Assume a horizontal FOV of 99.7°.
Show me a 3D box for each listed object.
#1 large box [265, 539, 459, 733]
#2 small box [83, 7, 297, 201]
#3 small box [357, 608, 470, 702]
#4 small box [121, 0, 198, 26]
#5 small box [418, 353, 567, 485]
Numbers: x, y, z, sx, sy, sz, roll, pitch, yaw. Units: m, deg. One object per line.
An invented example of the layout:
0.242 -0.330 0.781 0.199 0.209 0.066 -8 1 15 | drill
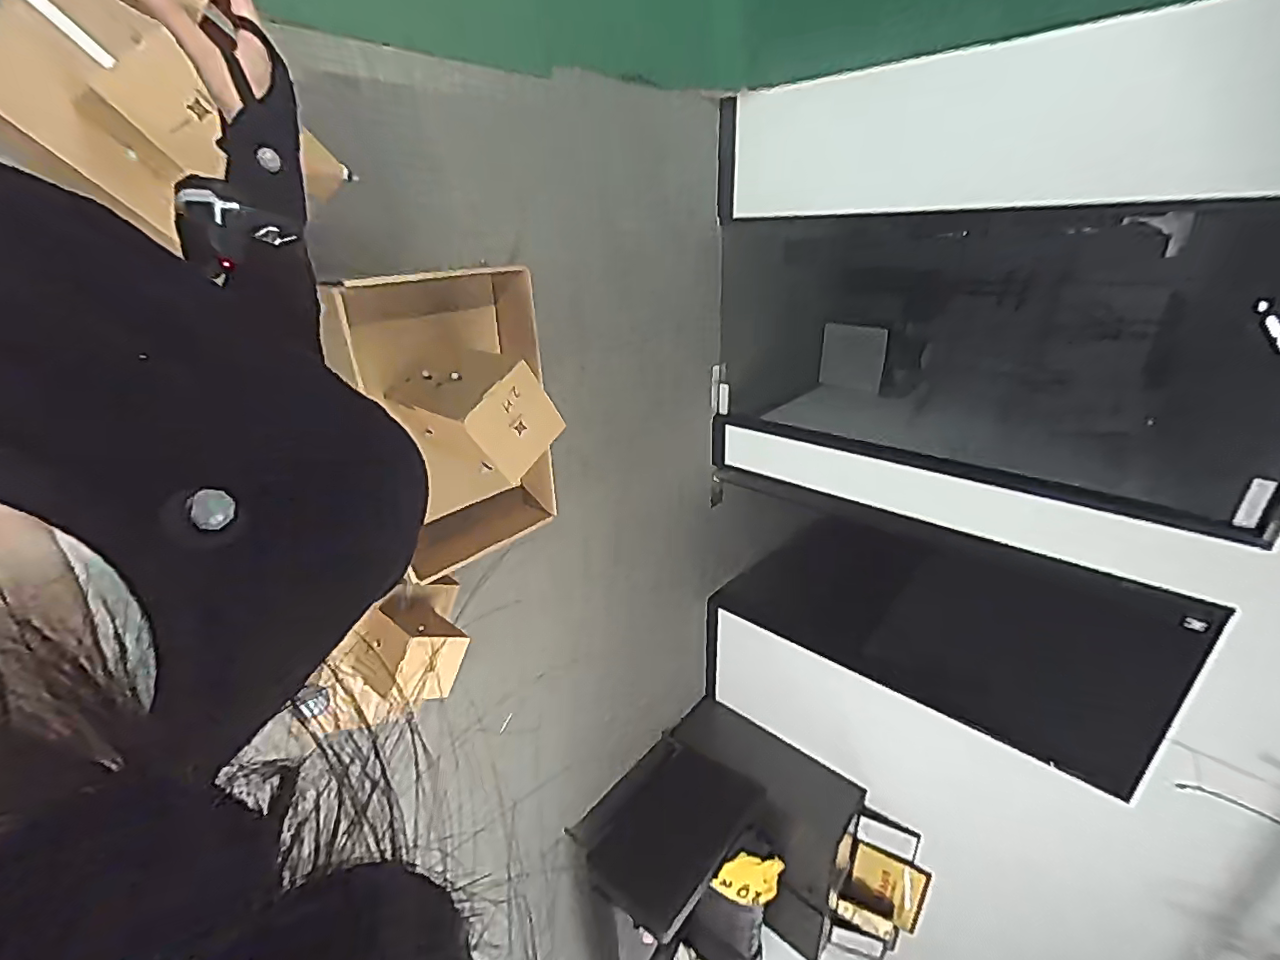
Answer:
-0.772 0.407 1.504 0.320 0.320 0.408 16 94 -52 | large box
-0.669 -0.546 0.804 0.179 0.176 0.168 -57 140 -16 | small box
-0.570 0.434 1.362 0.179 0.176 0.168 23 88 -53 | small box
-0.385 -0.450 0.343 0.168 0.176 0.179 9 114 -59 | small box
-0.279 -0.122 1.029 0.168 0.176 0.179 -53 138 -23 | small box
